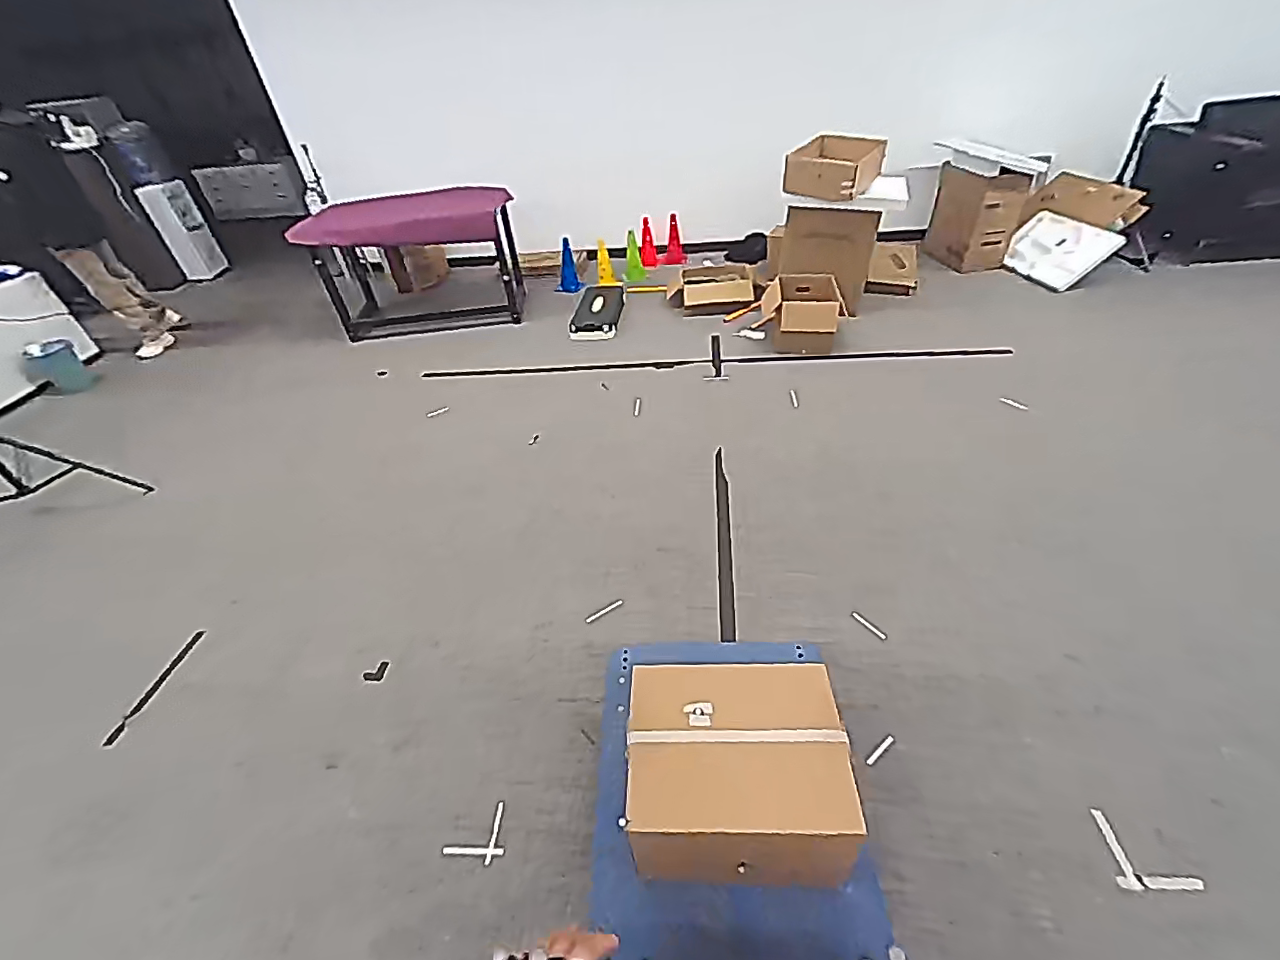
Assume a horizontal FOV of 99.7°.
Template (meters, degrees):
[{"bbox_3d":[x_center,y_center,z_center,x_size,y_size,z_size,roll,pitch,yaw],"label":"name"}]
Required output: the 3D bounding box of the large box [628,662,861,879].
[{"bbox_3d":[0.194,0.609,1.131,0.408,0.320,0.320,-4,39,5],"label":"large box"}]
